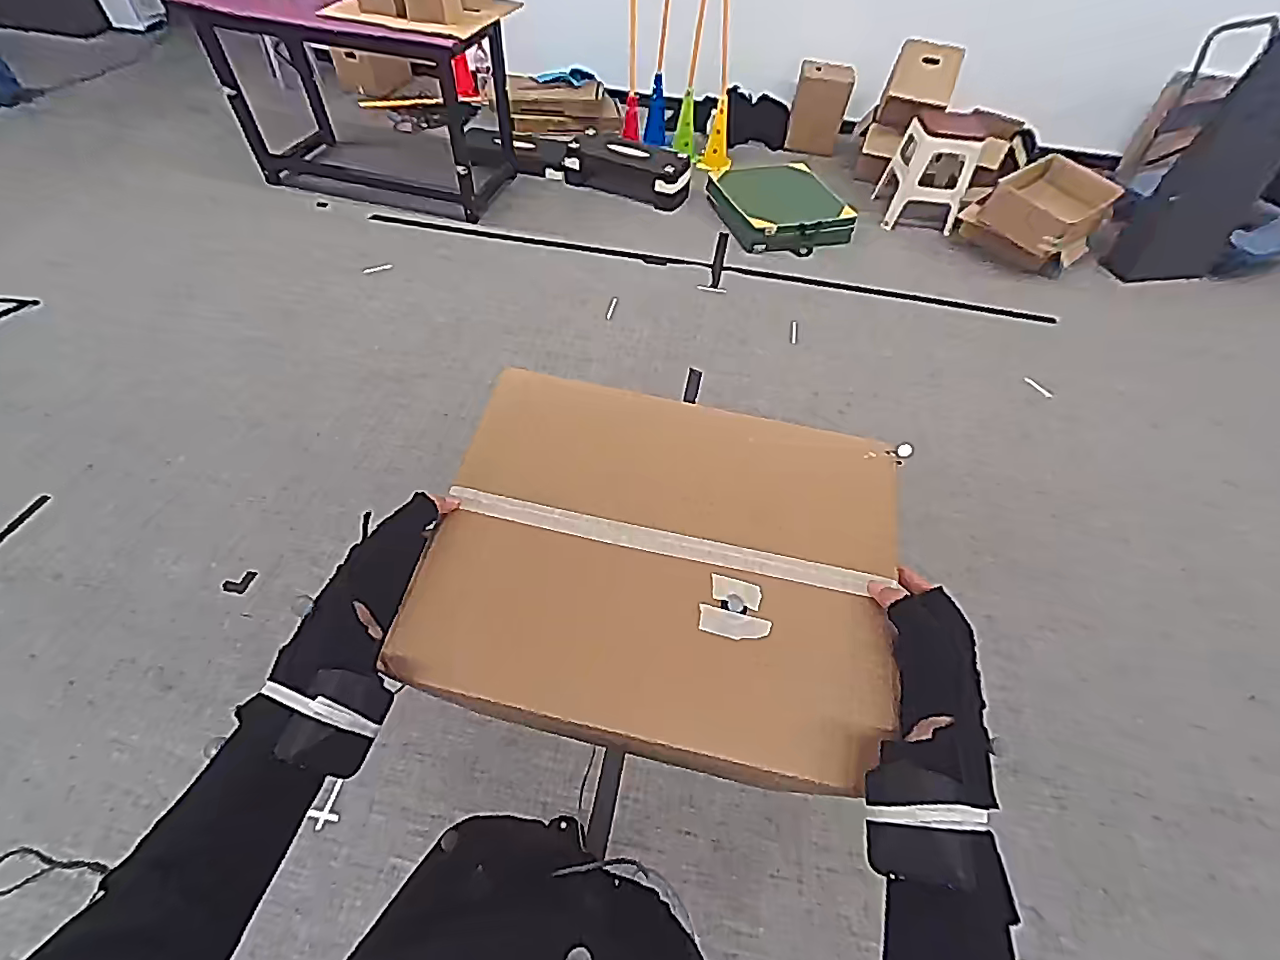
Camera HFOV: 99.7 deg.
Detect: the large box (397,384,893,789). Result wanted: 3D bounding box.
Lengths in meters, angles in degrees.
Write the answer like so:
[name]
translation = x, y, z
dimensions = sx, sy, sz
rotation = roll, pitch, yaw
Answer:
[large box]
translation = 0.018, 0.136, 0.619
dimensions = 0.408, 0.320, 0.320
rotation = 12, 63, 3
